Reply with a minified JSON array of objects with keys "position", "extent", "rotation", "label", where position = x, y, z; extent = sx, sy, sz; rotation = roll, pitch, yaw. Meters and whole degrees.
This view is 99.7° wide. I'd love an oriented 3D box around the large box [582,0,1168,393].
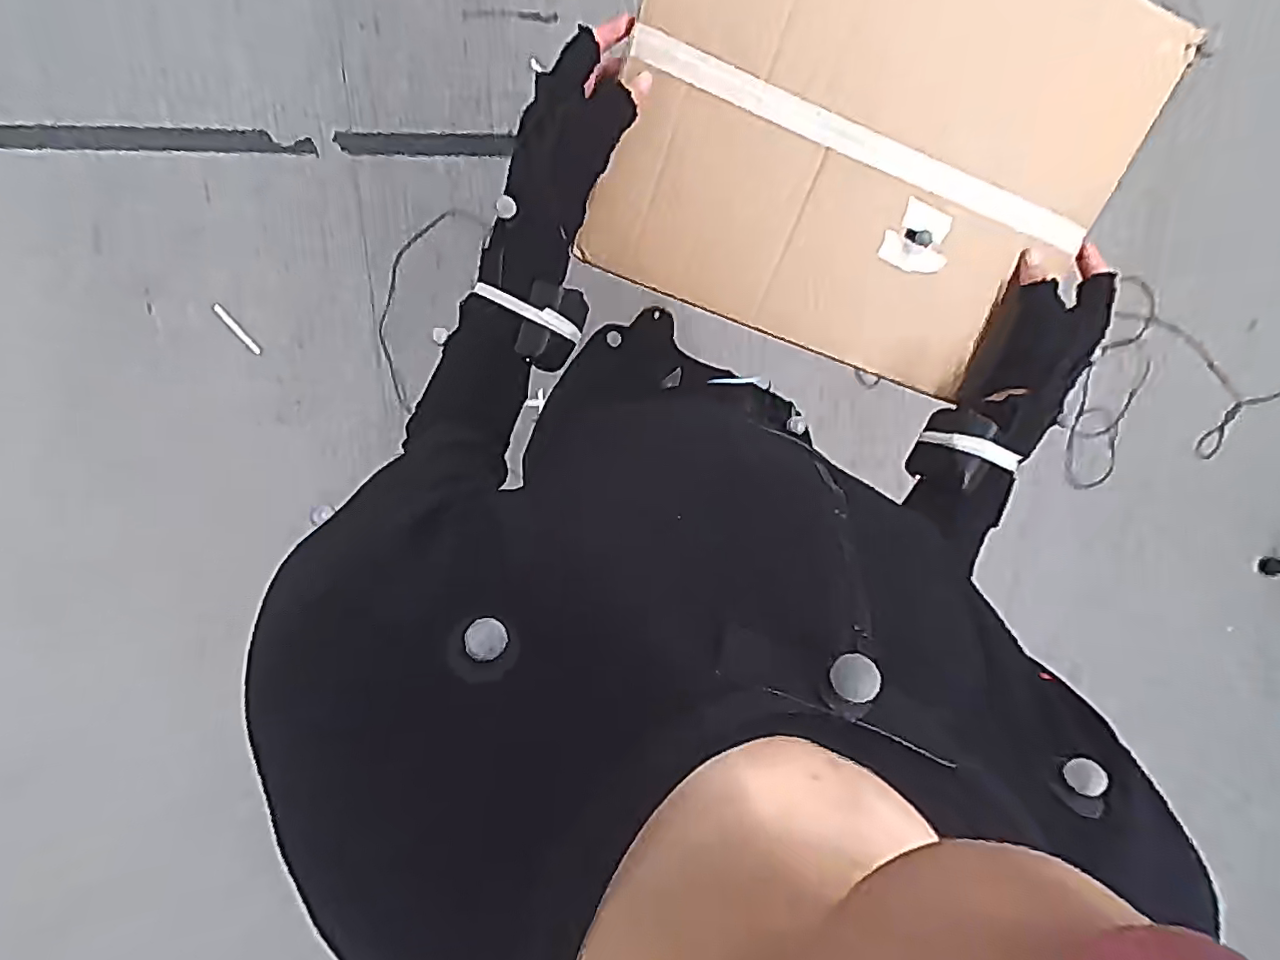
[{"position":[0.175,-0.330,0.582],"extent":[0.408,0.320,0.320],"rotation":[18,111,-11],"label":"large box"}]
